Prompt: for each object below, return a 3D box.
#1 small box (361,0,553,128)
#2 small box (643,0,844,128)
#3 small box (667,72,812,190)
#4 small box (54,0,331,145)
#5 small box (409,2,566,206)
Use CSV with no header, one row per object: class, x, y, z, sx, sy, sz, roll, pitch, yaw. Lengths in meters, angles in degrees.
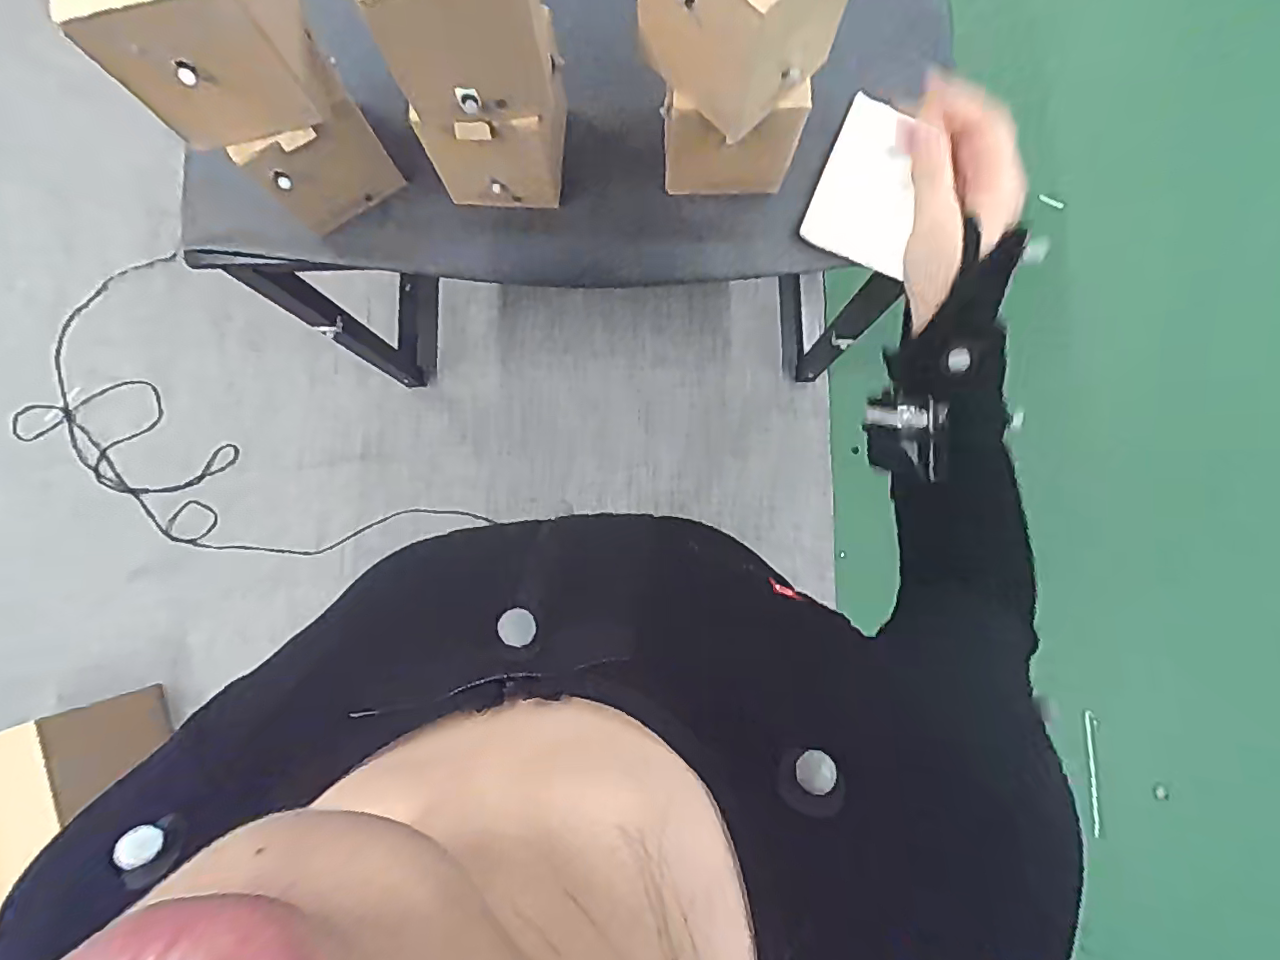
small box,-0.200,-0.542,0.605,0.168,0.176,0.179,-9,83,1
small box,0.113,-0.547,0.599,0.168,0.176,0.179,-44,84,-4
small box,0.129,-0.537,0.763,0.179,0.176,0.168,-1,83,2
small box,-0.488,-0.517,0.605,0.179,0.176,0.168,-14,83,0
small box,-0.202,-0.523,0.766,0.168,0.176,0.179,3,83,2
